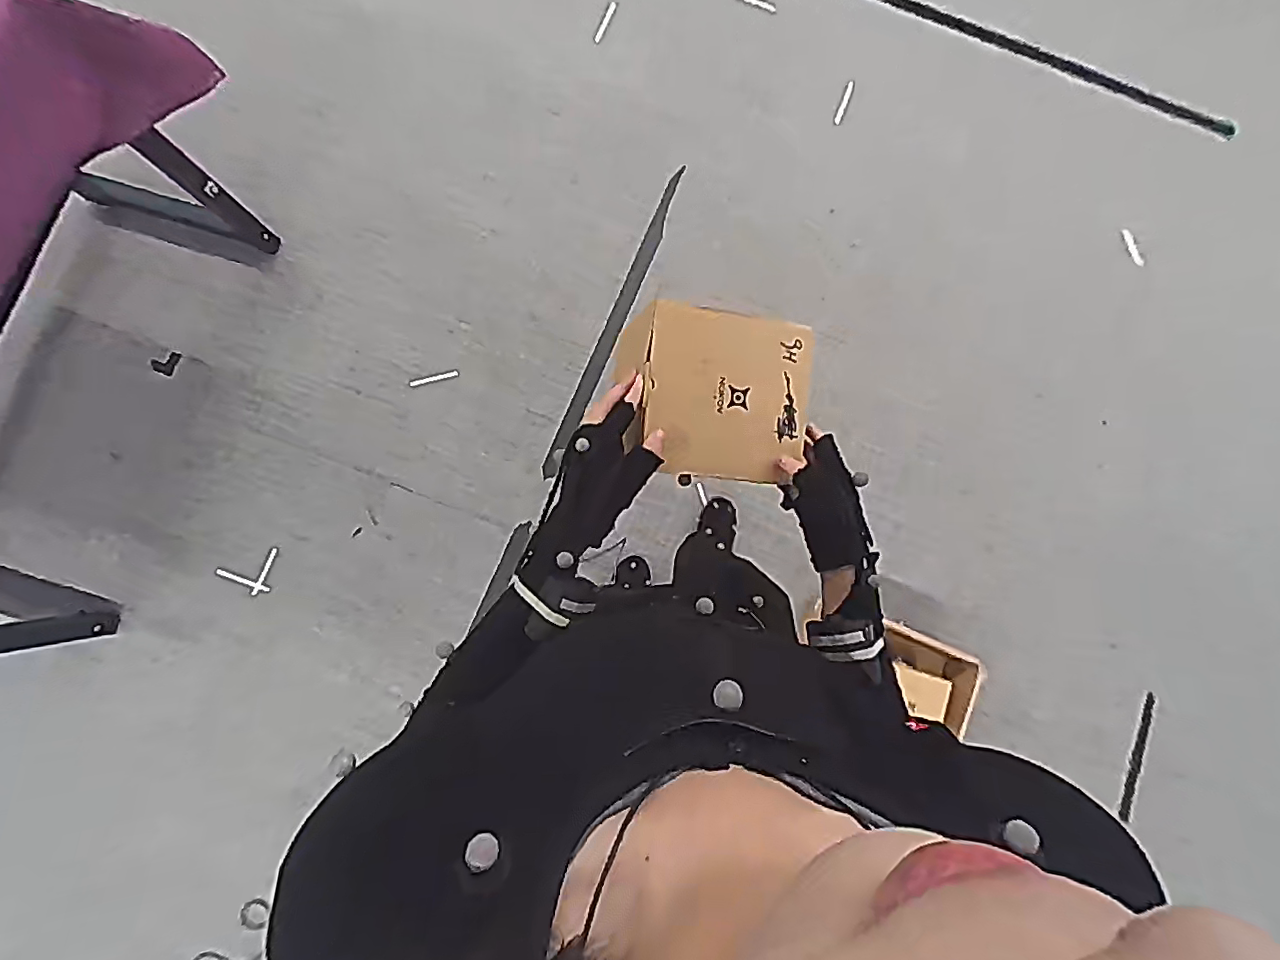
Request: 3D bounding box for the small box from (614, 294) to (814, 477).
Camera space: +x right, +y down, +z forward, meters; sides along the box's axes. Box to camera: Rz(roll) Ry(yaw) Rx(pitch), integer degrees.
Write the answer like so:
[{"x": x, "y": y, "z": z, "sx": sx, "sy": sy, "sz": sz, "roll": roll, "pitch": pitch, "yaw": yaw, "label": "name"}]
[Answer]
[{"x": 0.071, "y": -0.092, "z": 0.611, "sx": 0.179, "sy": 0.176, "sz": 0.168, "roll": 5, "pitch": 89, "yaw": -13, "label": "small box"}]
